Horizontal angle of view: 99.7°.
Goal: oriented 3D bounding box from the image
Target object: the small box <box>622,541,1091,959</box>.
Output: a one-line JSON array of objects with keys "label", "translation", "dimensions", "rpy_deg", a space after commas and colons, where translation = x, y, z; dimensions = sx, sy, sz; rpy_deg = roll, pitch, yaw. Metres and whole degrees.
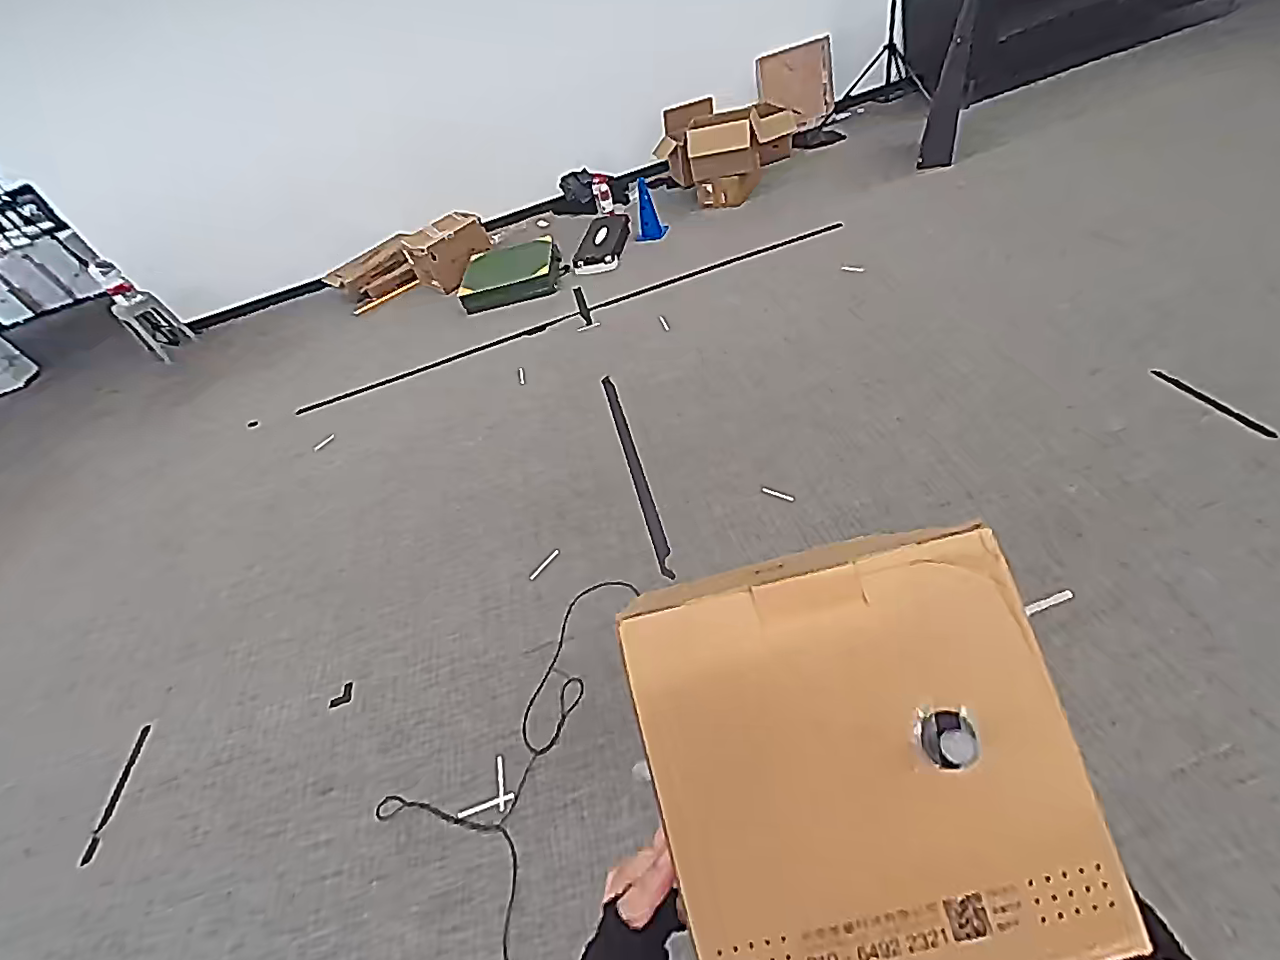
[{"label": "small box", "translation": [0.099, 0.140, 0.313], "dimensions": [0.168, 0.179, 0.176], "rpy_deg": [-16, 80, 4]}]
